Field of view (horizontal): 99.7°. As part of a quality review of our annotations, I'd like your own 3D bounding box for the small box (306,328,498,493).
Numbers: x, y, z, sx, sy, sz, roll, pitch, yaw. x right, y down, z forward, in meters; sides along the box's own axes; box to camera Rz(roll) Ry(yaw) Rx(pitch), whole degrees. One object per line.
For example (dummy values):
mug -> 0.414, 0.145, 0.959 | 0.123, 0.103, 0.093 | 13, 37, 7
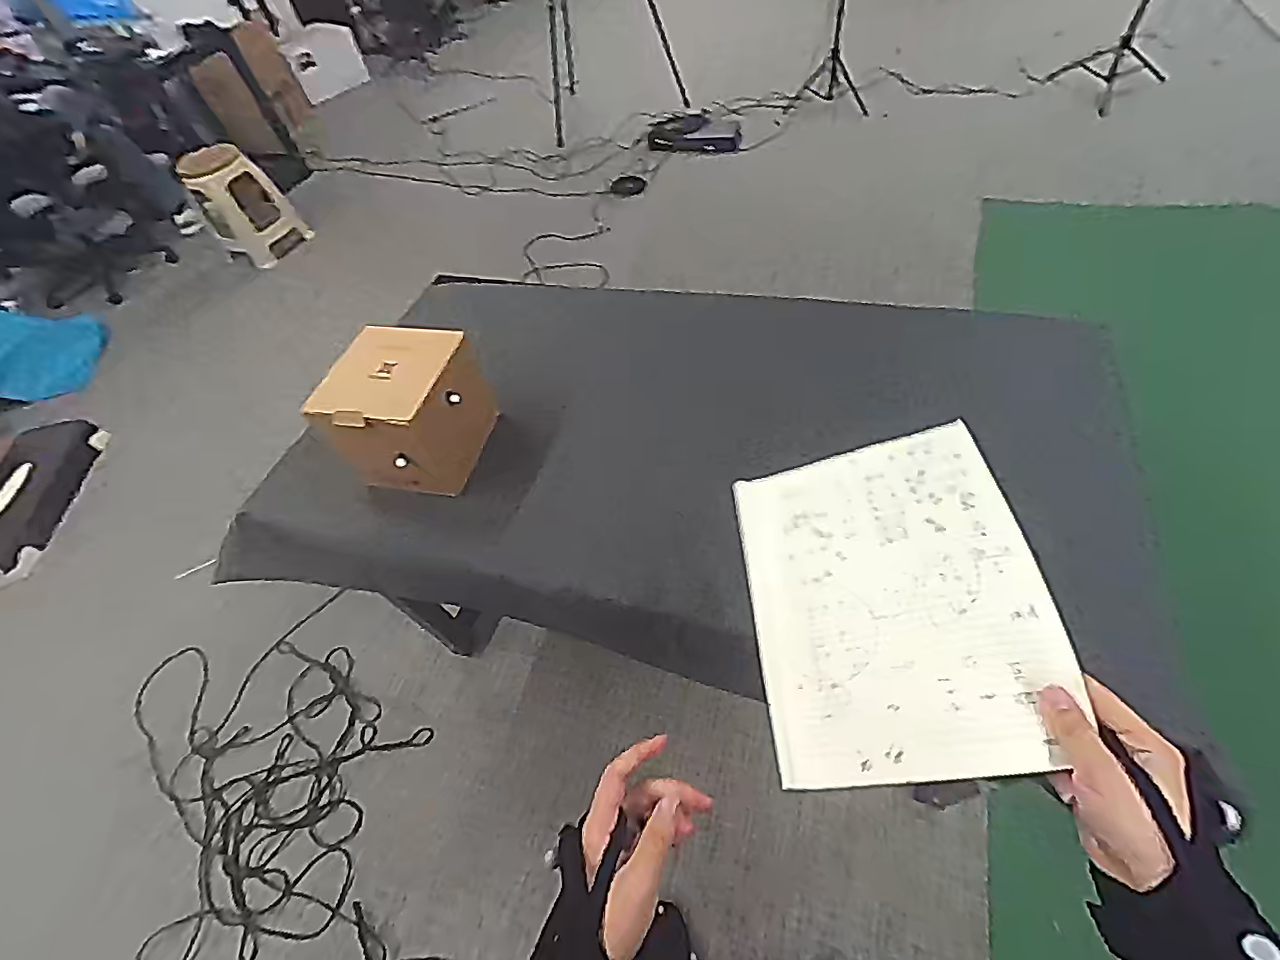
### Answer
small box -> -0.331, -0.100, 0.797 | 0.168, 0.176, 0.179 | 7, 54, 13
